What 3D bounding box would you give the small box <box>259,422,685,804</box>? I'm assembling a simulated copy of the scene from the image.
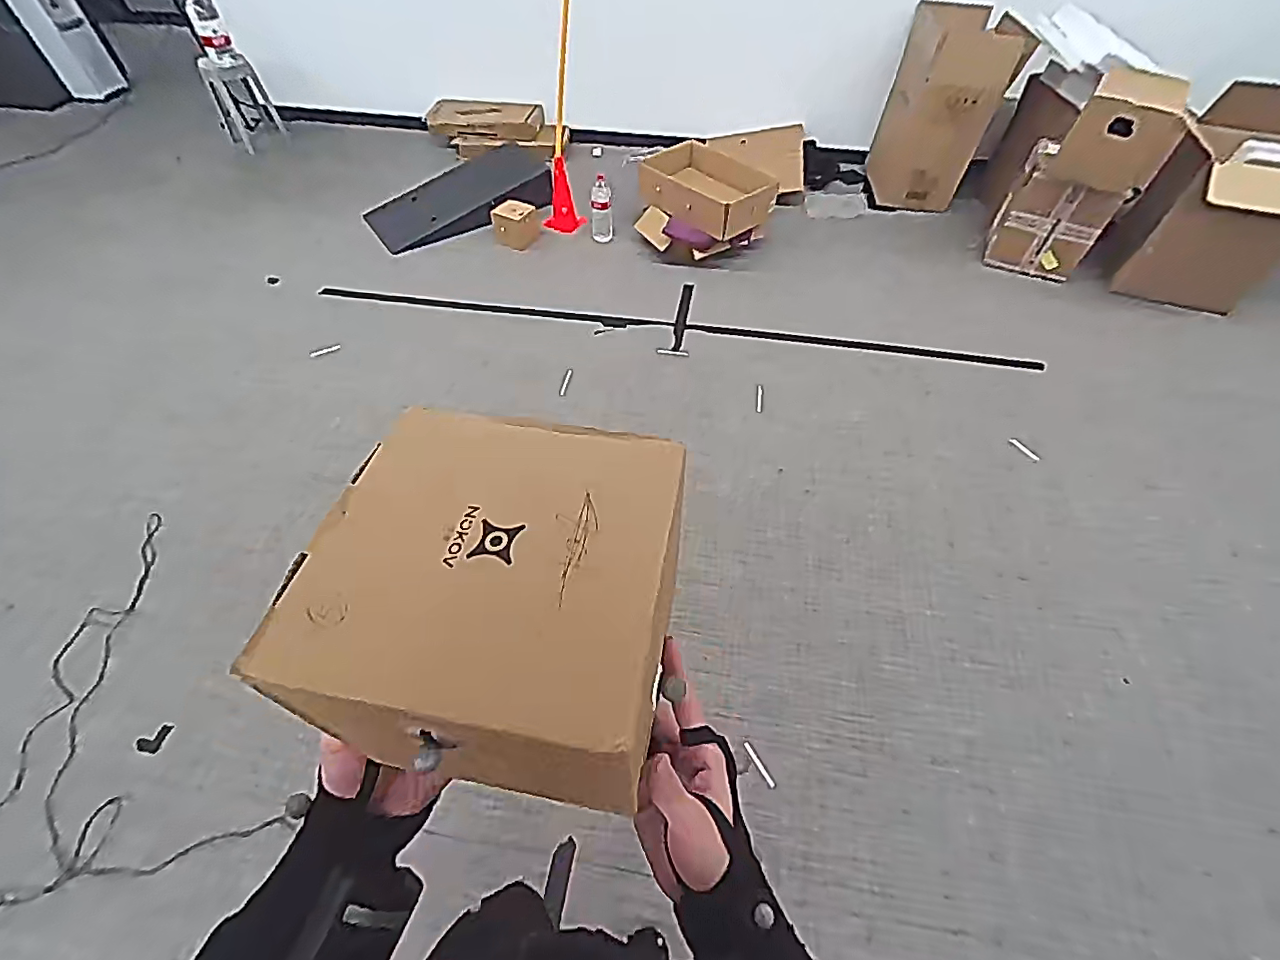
[{"bbox_3d":[-0.071,0.087,0.340,0.179,0.176,0.168,7,52,6],"label":"small box"}]
